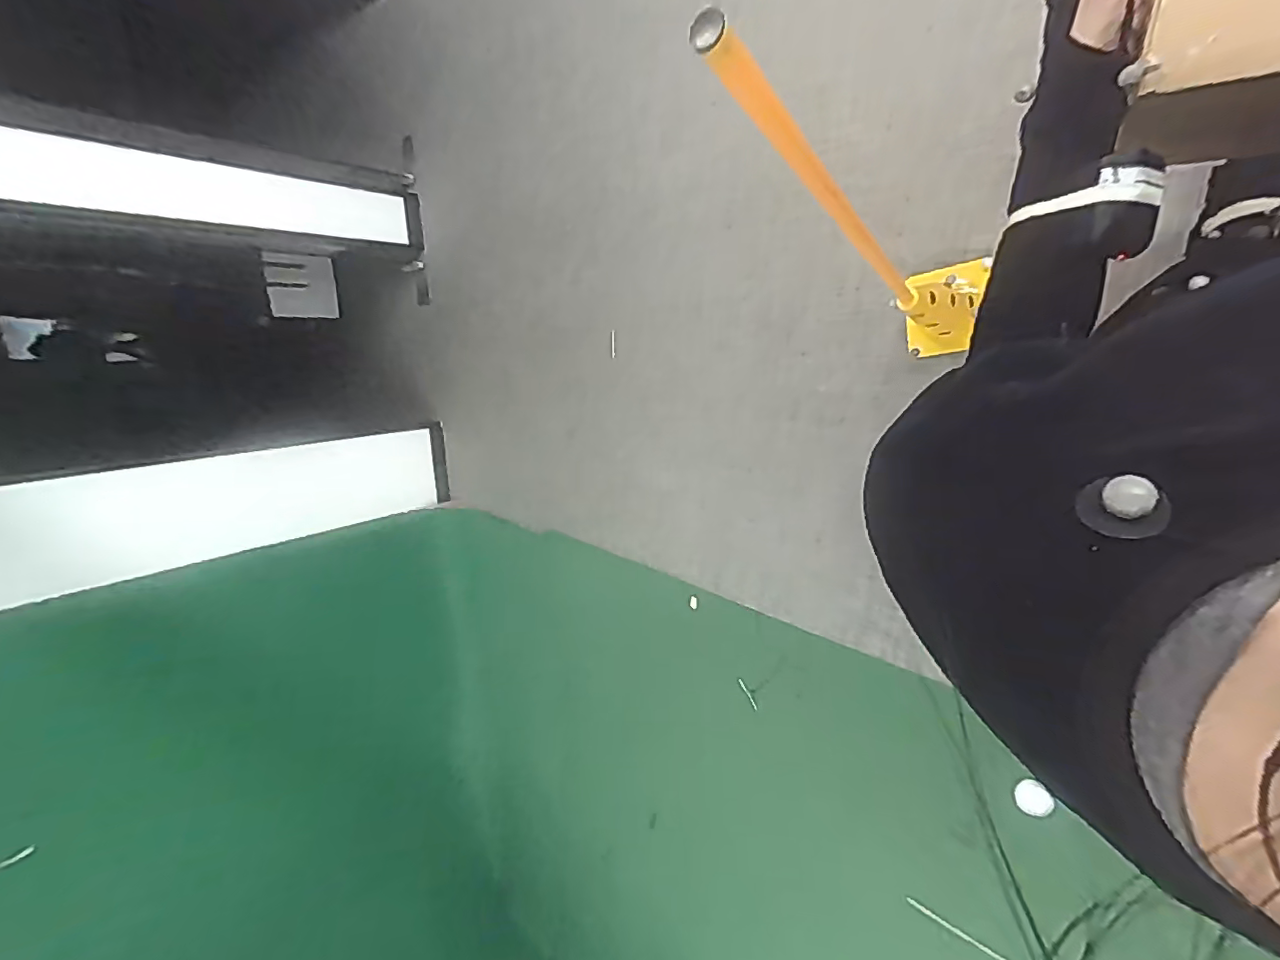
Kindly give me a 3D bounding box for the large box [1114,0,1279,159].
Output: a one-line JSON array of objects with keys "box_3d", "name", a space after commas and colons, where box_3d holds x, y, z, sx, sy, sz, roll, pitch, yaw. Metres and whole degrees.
[{"box_3d": [0.578, -0.414, 0.314, 0.408, 0.320, 0.320, 12, 113, 35], "name": "large box"}]
